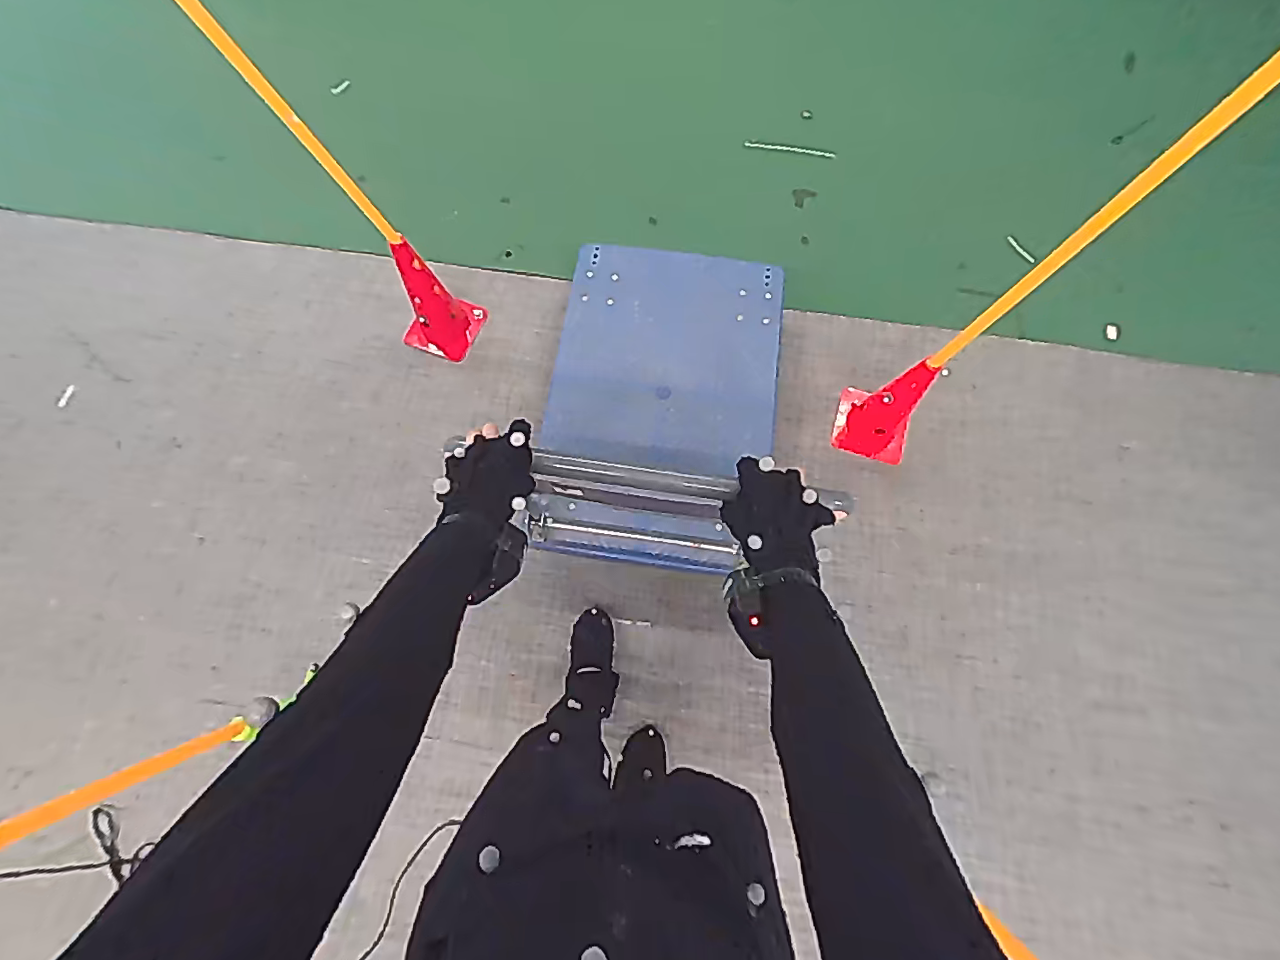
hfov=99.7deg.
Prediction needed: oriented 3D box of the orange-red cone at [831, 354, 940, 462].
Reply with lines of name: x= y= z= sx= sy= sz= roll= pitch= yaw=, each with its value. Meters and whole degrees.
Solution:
orange-red cone: x=0.659 y=-0.212 z=1.382 sx=0.198 sy=0.360 sz=0.199 roll=19 pitch=73 yaw=6
